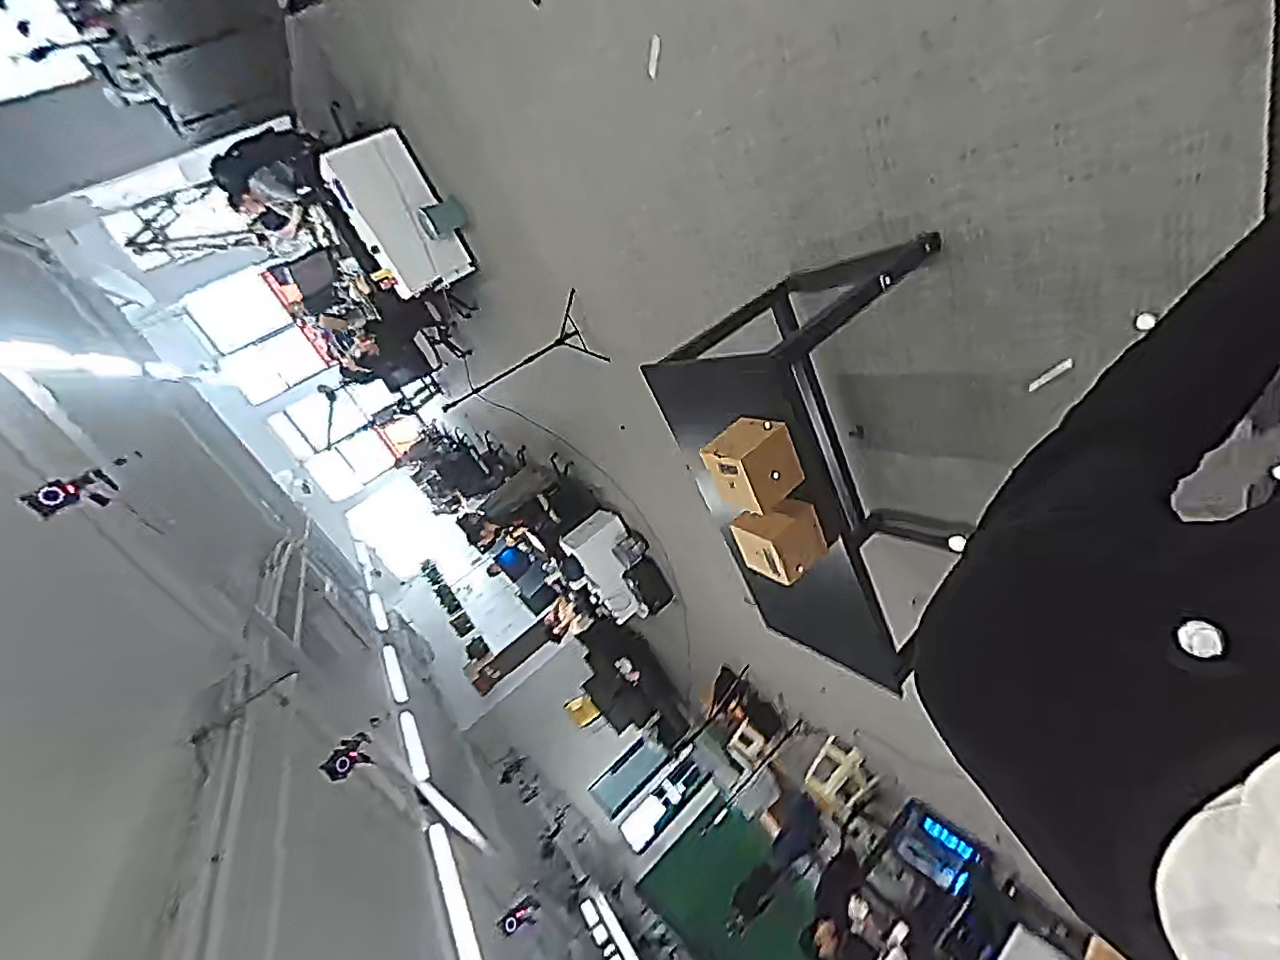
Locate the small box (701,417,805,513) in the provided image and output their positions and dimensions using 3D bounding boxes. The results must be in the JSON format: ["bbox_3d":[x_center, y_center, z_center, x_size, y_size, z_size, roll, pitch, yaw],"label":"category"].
[{"bbox_3d":[0.297,-0.046,1.410,0.168,0.176,0.179,19,144,57],"label":"small box"}]
